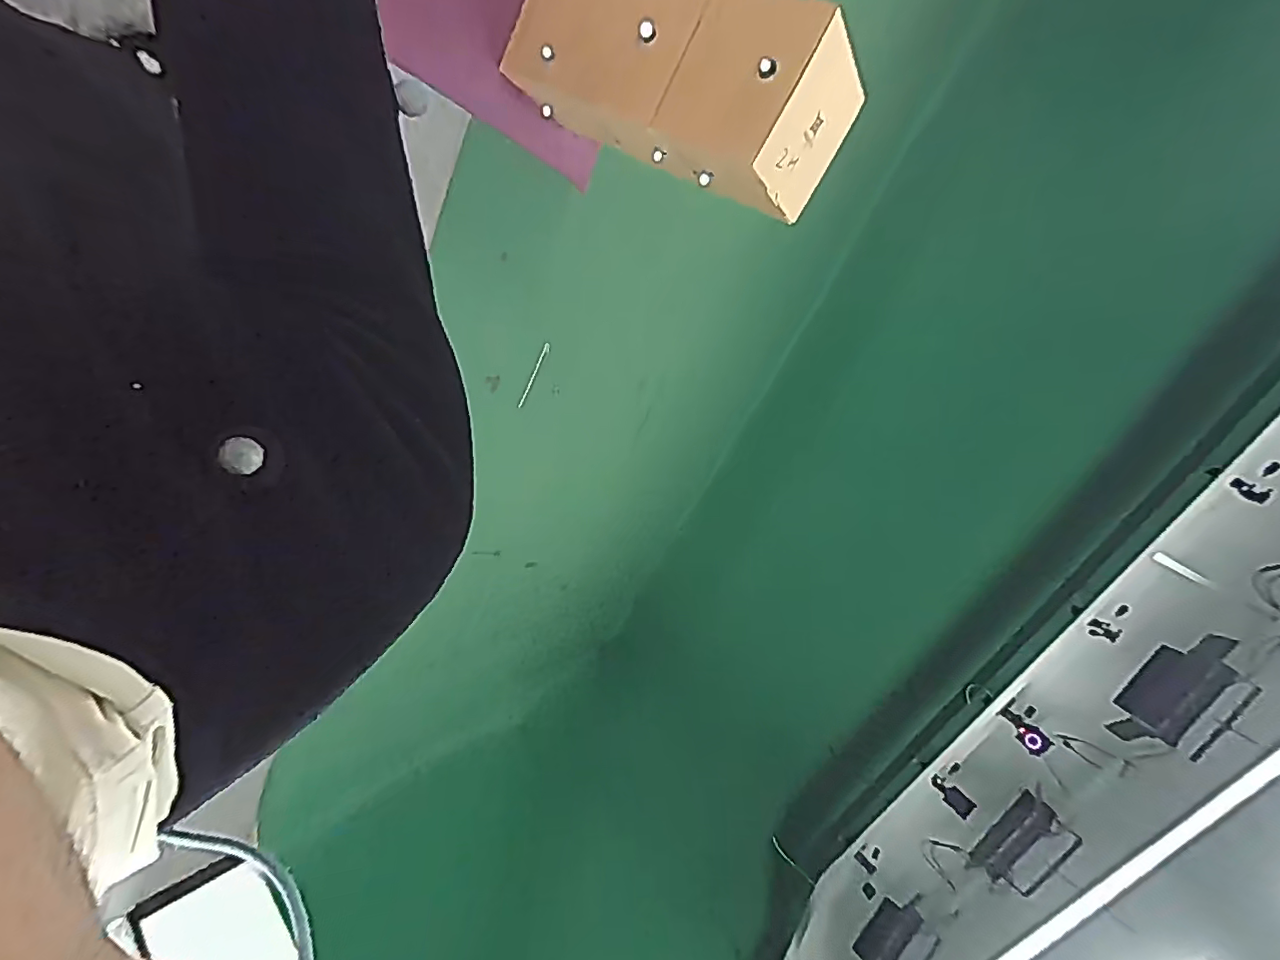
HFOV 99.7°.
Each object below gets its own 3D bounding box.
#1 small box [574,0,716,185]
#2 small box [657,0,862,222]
[{"bbox_3d":[0.035,-0.568,0.770,0.168,0.176,0.179,1,122,-57],"label":"small box"},{"bbox_3d":[0.152,-0.477,0.698,0.168,0.176,0.179,2,122,-58],"label":"small box"}]
